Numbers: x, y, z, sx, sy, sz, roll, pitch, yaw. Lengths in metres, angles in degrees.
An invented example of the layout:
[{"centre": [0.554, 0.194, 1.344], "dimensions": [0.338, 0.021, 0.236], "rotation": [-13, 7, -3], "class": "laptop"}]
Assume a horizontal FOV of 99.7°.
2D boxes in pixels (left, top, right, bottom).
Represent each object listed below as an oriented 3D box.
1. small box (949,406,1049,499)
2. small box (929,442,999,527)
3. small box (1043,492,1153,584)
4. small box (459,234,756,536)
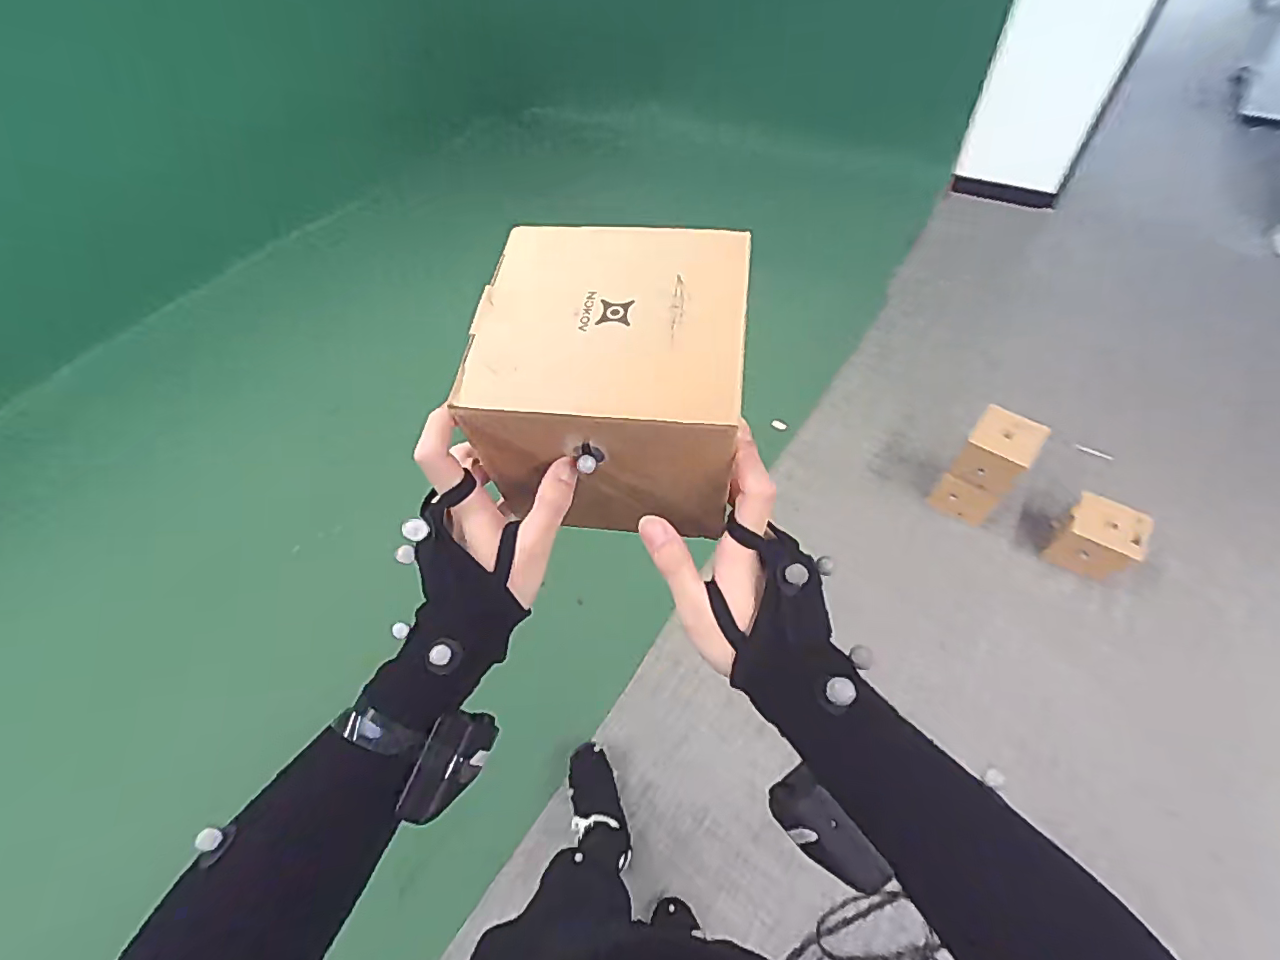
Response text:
[{"centre": [1.034, -0.076, 1.575], "dimensions": [0.168, 0.176, 0.179], "rotation": [33, 64, 26], "class": "small box"}, {"centre": [1.047, 0.017, 1.711], "dimensions": [0.168, 0.176, 0.179], "rotation": [31, 63, 25], "class": "small box"}, {"centre": [1.317, 0.173, 1.566], "dimensions": [0.179, 0.176, 0.168], "rotation": [28, 63, 25], "class": "small box"}, {"centre": [-0.009, -0.067, 0.428], "dimensions": [0.179, 0.176, 0.168], "rotation": [6, 61, 8], "class": "small box"}]
